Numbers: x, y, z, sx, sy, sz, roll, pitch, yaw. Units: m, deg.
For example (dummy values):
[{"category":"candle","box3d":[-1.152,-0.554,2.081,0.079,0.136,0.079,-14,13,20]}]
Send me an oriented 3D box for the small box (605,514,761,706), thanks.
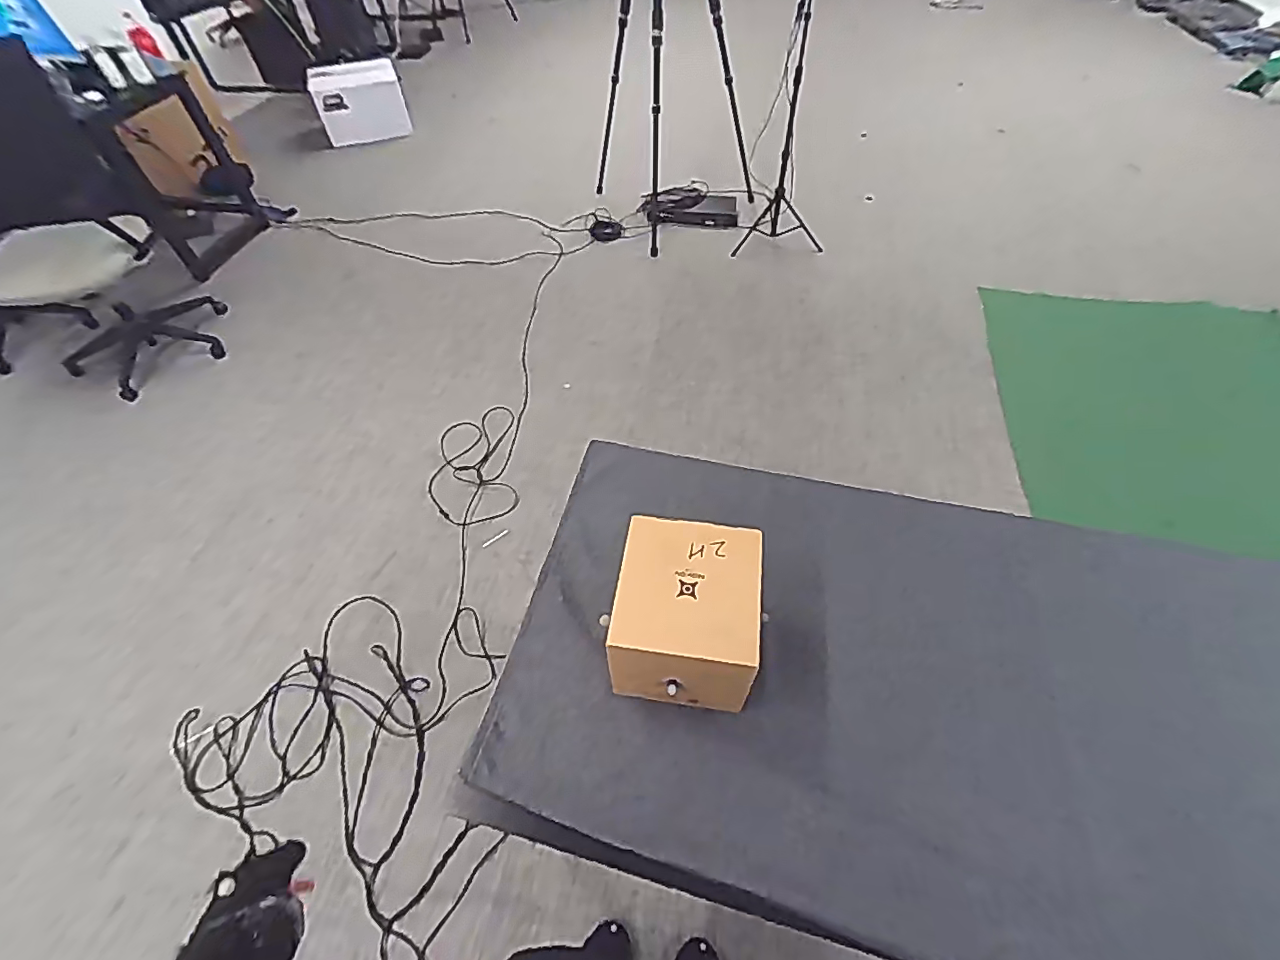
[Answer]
[{"category":"small box","box3d":[0.057,0.169,0.688,0.168,0.176,0.179,7,51,6]}]
